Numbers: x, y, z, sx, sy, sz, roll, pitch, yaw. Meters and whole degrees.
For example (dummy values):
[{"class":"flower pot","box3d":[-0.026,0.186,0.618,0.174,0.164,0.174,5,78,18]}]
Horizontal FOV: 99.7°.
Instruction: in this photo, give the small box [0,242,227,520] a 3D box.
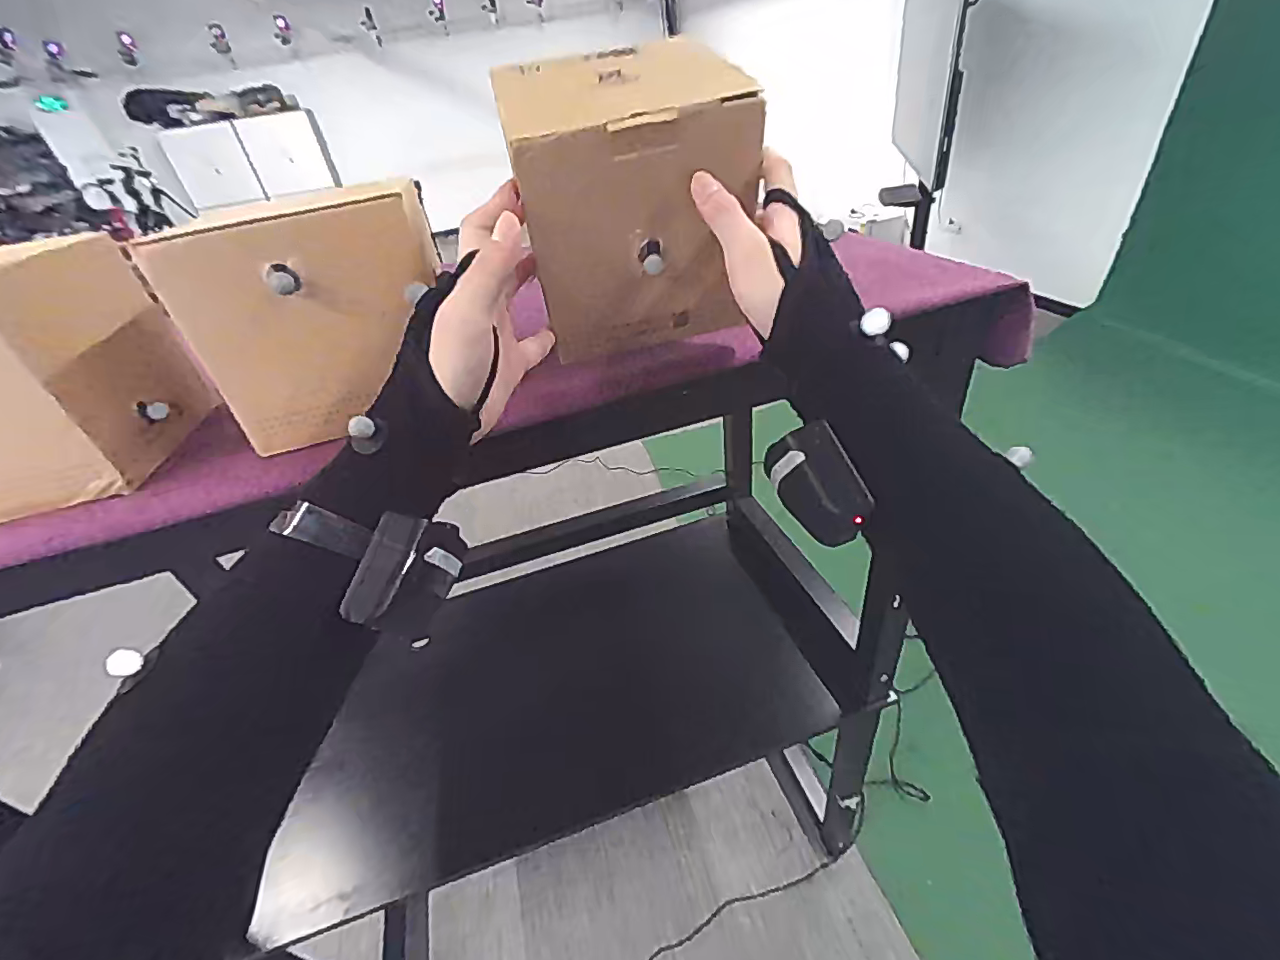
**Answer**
[{"class":"small box","box3d":[-0.501,-0.079,0.443,0.179,0.176,0.168,-13,35,-7]}]

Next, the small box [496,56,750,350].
[{"class":"small box","box3d":[-0.015,-0.229,0.465,0.168,0.176,0.179,-13,50,-5]}]
